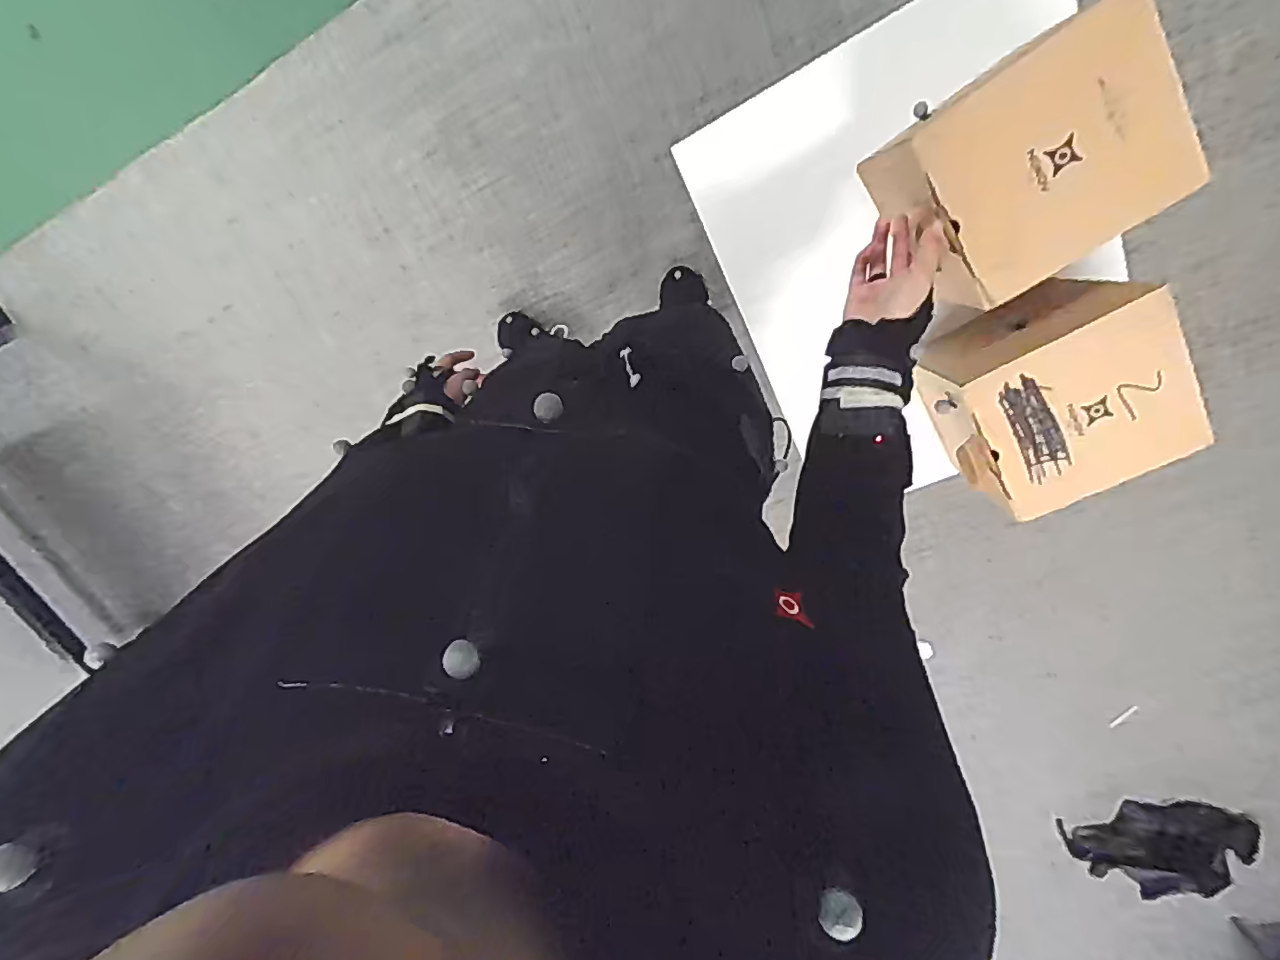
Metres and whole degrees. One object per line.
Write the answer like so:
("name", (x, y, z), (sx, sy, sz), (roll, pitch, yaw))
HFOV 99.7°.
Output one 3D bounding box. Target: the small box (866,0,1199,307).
("small box", (0.336, -0.288, 0.506), (0.179, 0.176, 0.168), (-33, 108, 17))
